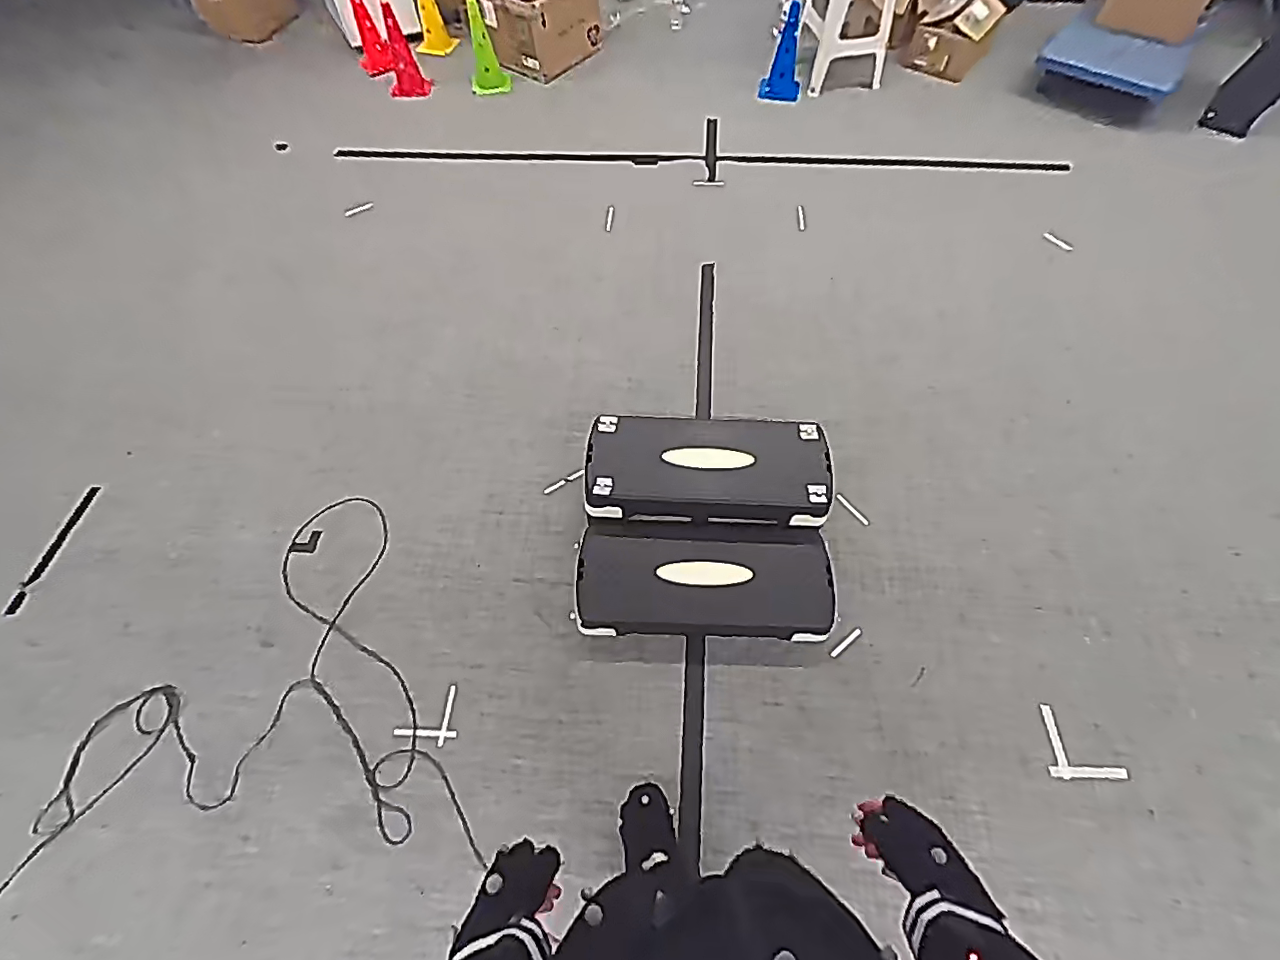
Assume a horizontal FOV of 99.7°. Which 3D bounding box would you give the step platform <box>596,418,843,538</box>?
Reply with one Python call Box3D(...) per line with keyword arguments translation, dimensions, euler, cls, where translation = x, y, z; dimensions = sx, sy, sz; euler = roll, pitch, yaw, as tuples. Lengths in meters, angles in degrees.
Box3D(translation=(0.216, -0.009, 1.547), dimensions=(0.684, 0.204, 0.286), euler=(2, 60, 1), cls="step platform")
